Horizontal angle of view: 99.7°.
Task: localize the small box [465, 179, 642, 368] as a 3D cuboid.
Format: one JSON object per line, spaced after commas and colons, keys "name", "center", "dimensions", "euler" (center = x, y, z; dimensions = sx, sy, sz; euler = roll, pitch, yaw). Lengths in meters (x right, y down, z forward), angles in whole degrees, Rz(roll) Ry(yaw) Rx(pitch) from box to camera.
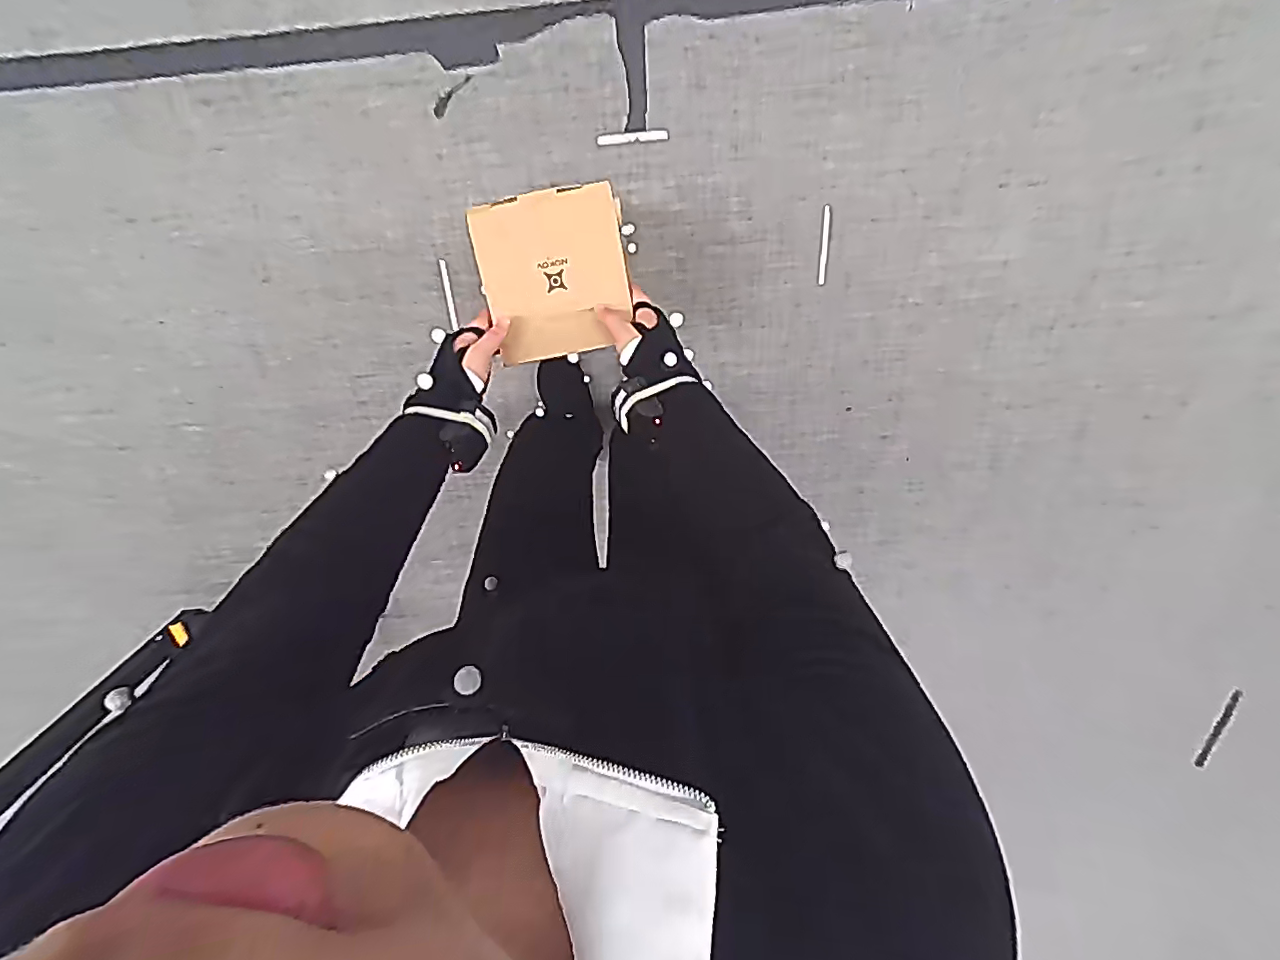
{"name": "small box", "center": [-0.095, -0.245, 0.675], "dimensions": [0.168, 0.176, 0.179], "euler": [-11, 106, 3]}
